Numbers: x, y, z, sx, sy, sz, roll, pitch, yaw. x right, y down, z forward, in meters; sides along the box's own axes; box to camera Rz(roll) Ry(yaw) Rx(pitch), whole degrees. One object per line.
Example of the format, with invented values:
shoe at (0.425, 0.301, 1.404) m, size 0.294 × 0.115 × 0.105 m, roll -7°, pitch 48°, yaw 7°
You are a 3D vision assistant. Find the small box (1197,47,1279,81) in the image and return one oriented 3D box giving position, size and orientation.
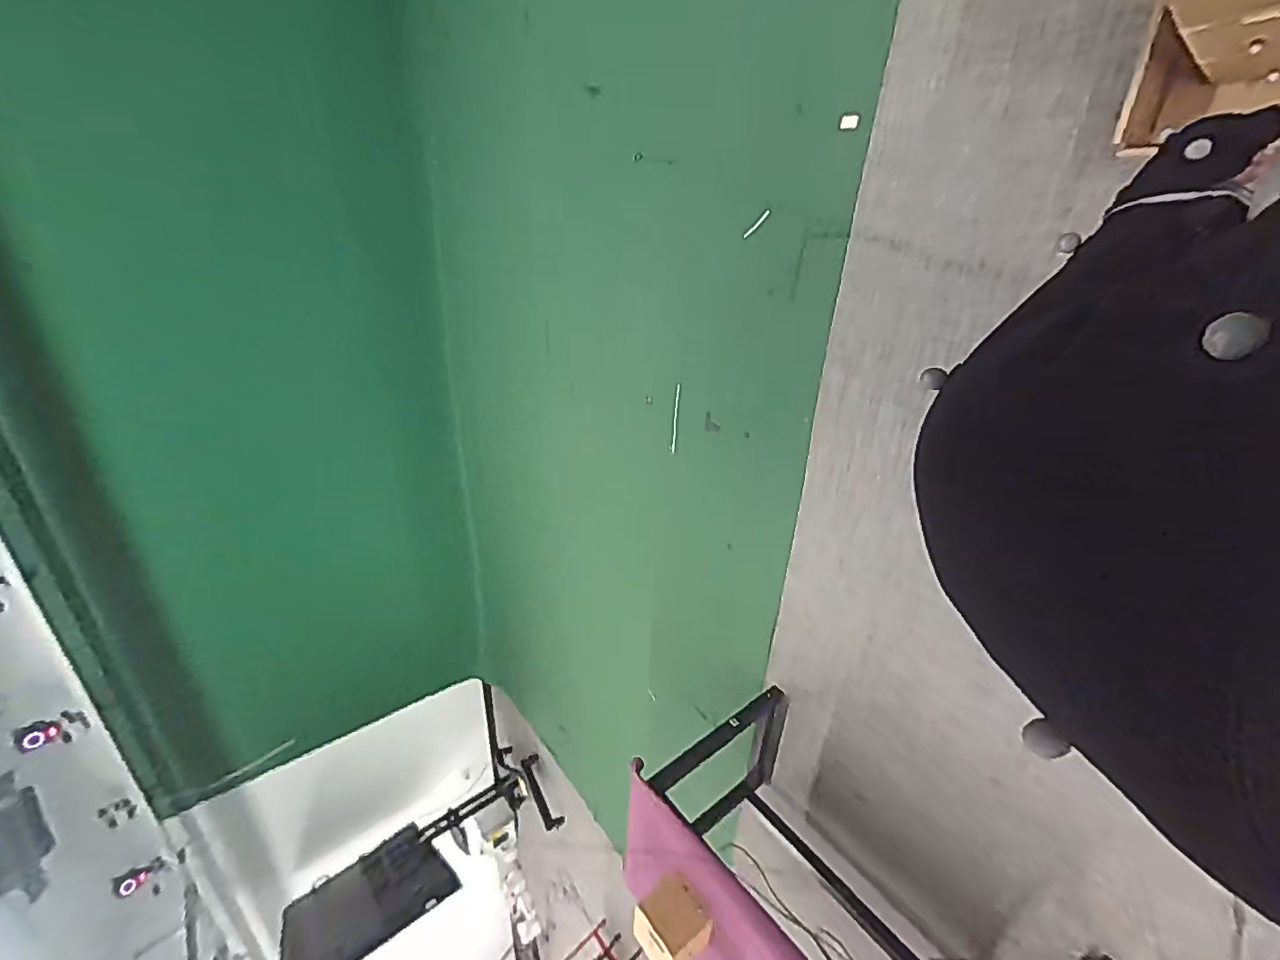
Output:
small box at (0.965, -0.711, 0.783) m, size 0.168 × 0.176 × 0.179 m, roll 29°, pitch 125°, yaw 43°

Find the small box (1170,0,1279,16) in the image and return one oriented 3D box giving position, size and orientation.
small box at (0.715, -0.641, 0.585) m, size 0.168 × 0.176 × 0.179 m, roll 25°, pitch 122°, yaw 44°

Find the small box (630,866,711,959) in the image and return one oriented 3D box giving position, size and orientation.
small box at (0.094, 1.326, 1.635) m, size 0.168 × 0.176 × 0.179 m, roll 37°, pitch 131°, yaw 41°

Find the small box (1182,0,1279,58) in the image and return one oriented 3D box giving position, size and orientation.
small box at (0.841, -0.674, 0.684) m, size 0.168 × 0.176 × 0.179 m, roll 27°, pitch 124°, yaw 43°
